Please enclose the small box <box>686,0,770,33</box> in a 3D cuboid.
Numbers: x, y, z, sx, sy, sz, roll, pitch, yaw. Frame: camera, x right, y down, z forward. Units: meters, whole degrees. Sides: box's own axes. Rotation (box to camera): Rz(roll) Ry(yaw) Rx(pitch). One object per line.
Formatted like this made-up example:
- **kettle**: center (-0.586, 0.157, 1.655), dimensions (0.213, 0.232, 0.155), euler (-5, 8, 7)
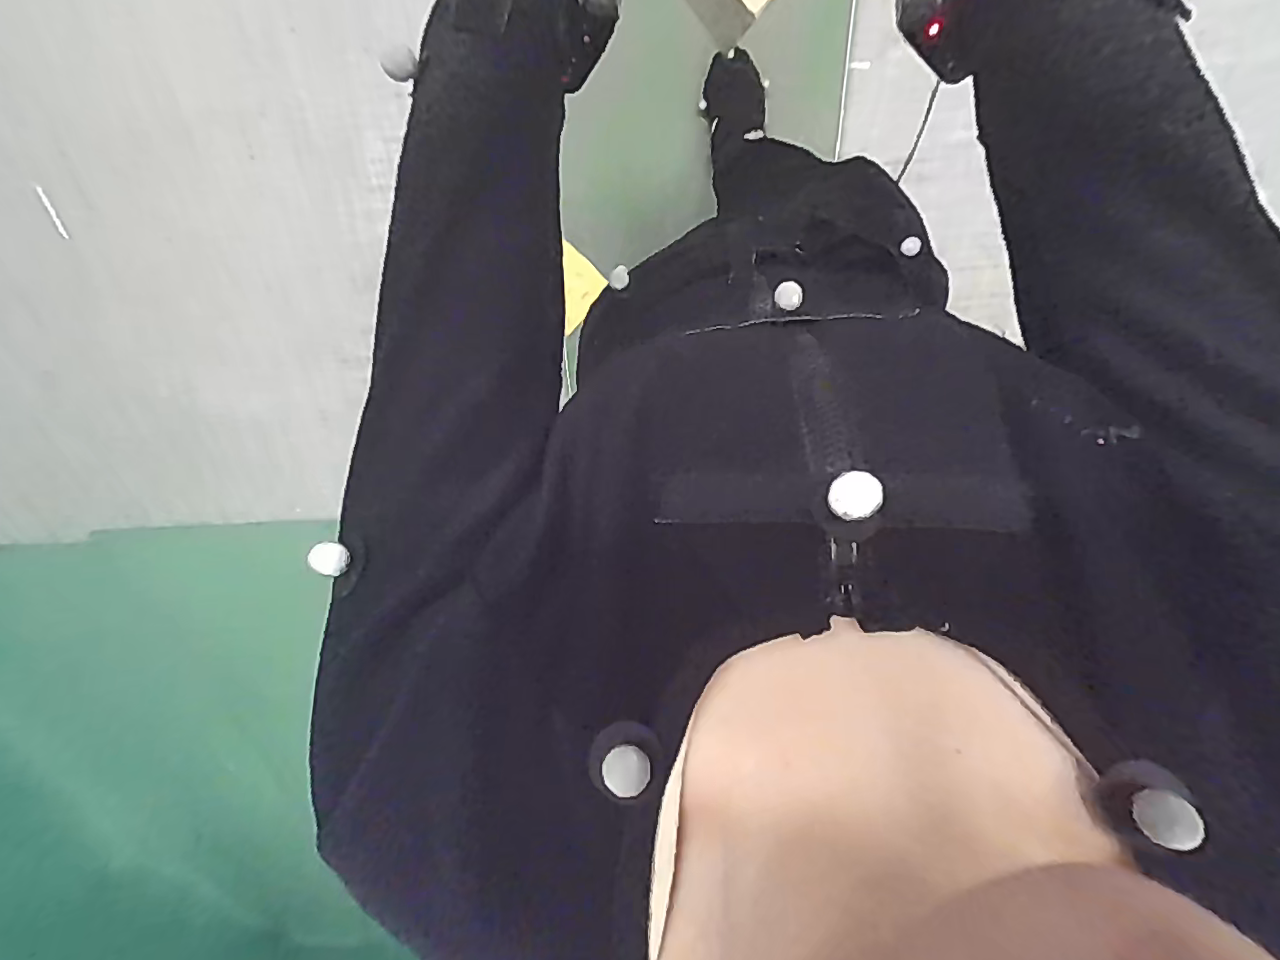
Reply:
- **small box**: center (0.075, -0.465, 0.382), dimensions (0.179, 0.176, 0.168), euler (40, 113, -21)
